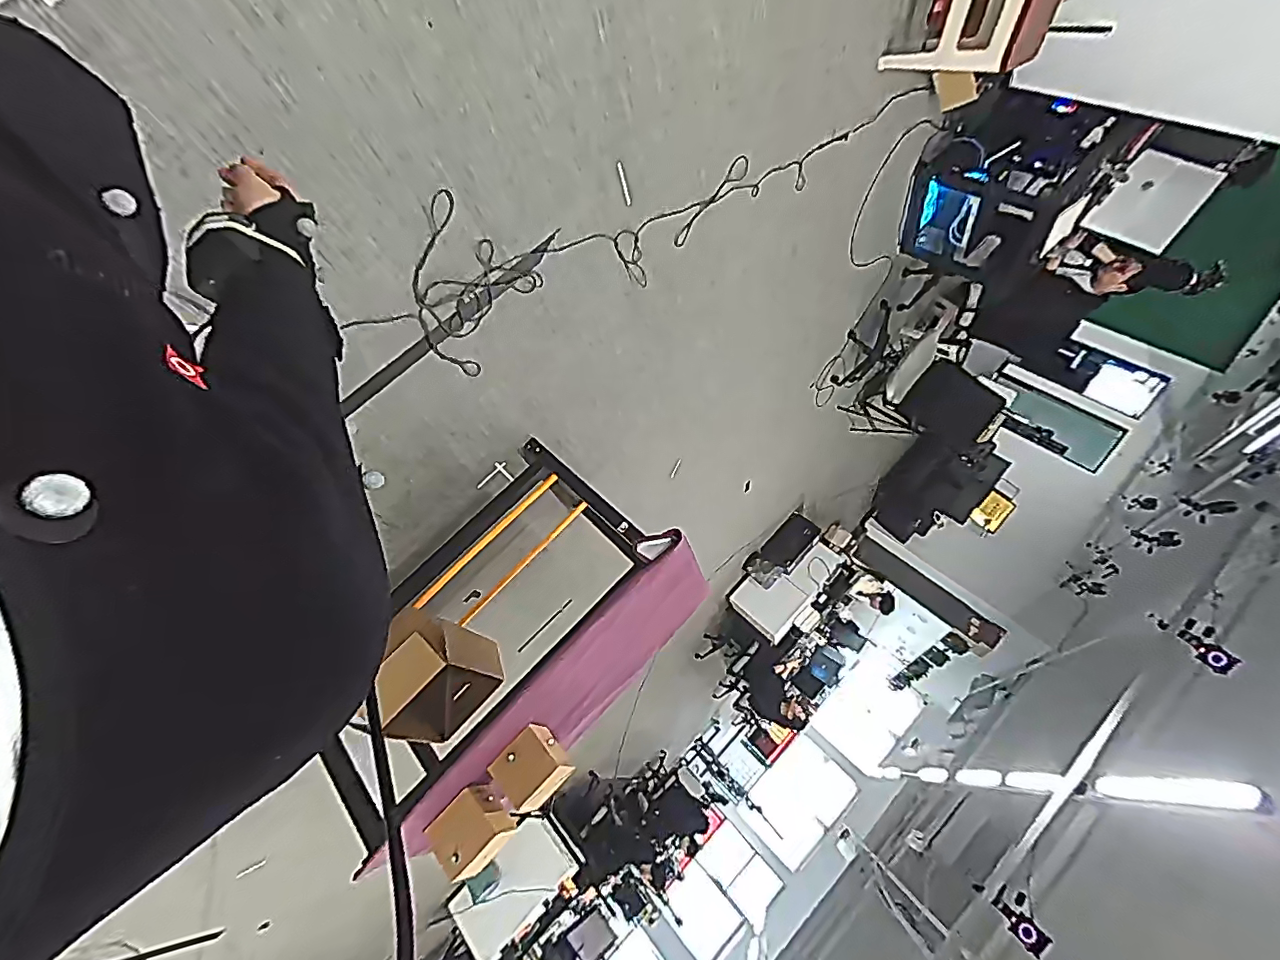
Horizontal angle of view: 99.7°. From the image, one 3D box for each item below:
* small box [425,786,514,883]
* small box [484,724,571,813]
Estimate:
[{"bbox_3d":[-0.520,1.061,1.633,0.179,0.176,0.168,-44,153,-12],"label":"small box"},{"bbox_3d":[-0.345,0.900,1.694,0.179,0.176,0.168,-45,152,-13],"label":"small box"}]
